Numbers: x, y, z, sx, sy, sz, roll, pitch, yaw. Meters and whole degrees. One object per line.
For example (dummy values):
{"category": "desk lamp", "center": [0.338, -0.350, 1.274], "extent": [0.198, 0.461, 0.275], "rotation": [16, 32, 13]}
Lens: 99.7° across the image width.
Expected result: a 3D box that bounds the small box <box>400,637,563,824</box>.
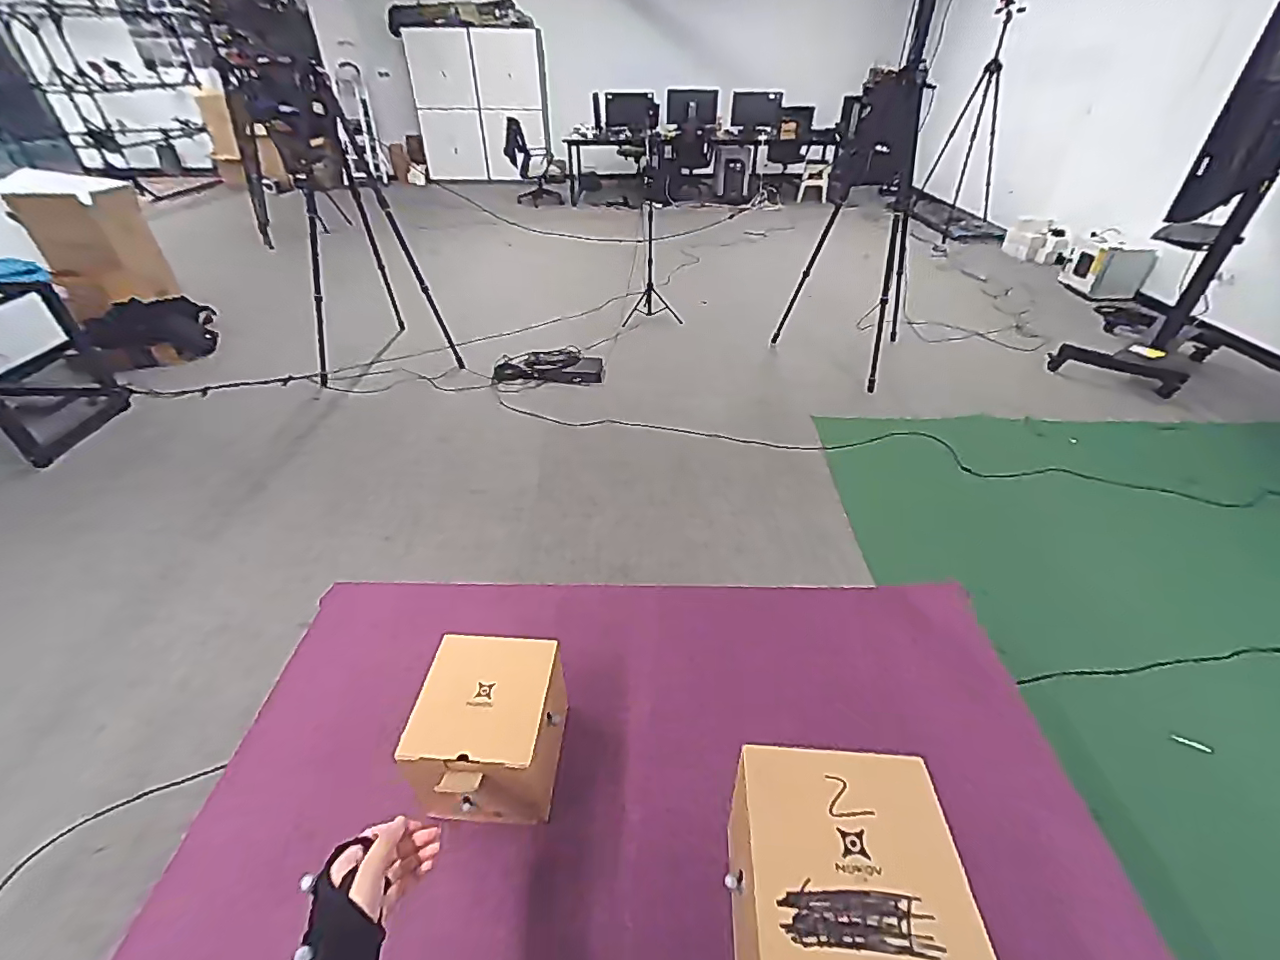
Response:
{"category": "small box", "center": [-0.205, 0.349, 0.761], "extent": [0.168, 0.176, 0.179], "rotation": [3, 38, 3]}
